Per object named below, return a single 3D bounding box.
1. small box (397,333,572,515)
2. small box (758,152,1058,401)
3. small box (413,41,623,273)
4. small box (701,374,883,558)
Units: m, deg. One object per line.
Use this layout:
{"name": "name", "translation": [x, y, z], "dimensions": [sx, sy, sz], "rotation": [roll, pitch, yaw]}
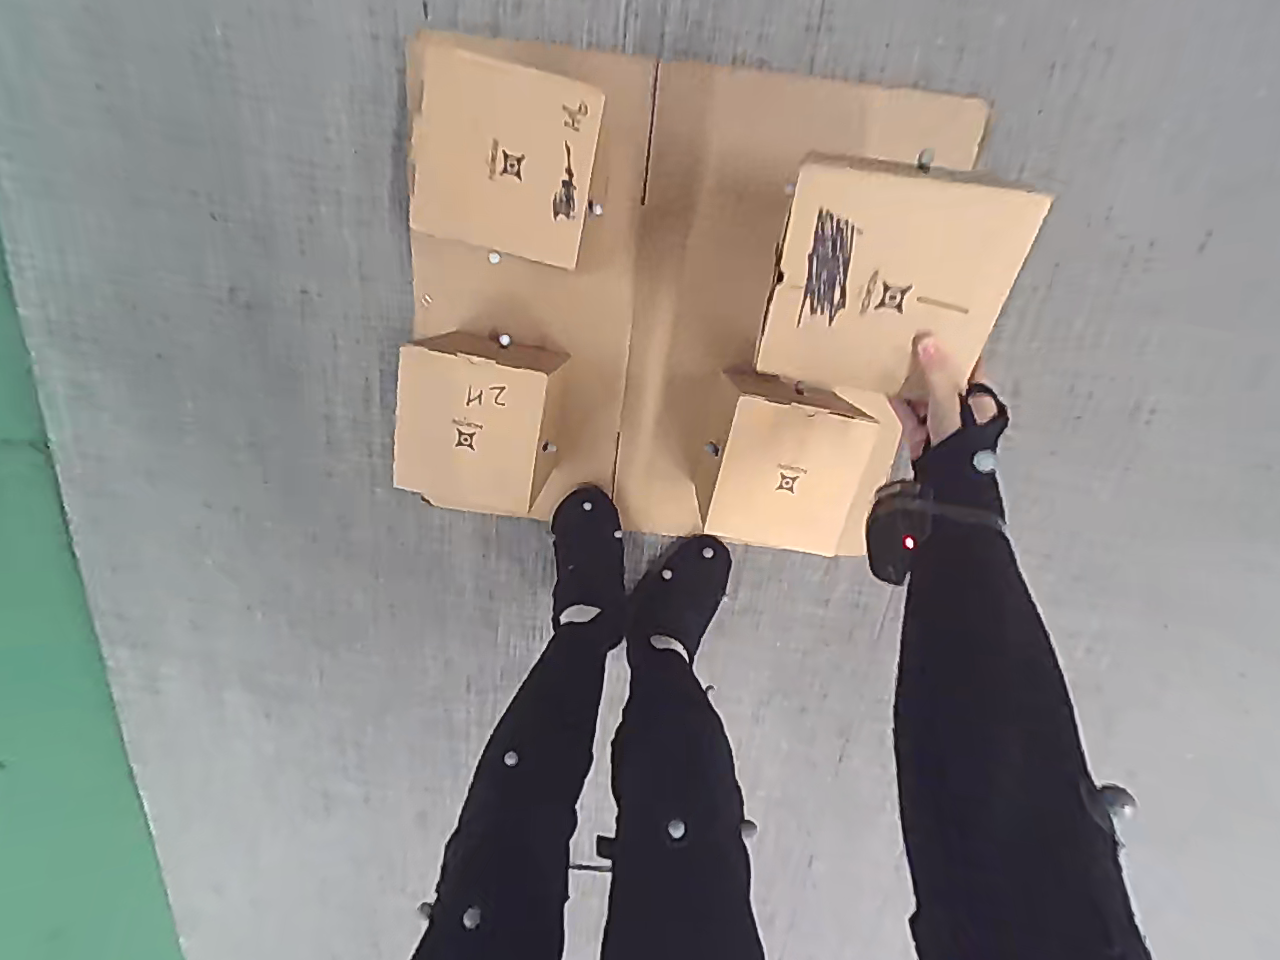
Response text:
{"name": "small box", "translation": [-0.188, -0.080, 0.691], "dimensions": [0.168, 0.176, 0.179], "rotation": [12, 109, -3]}
{"name": "small box", "translation": [0.222, -0.196, 0.497], "dimensions": [0.179, 0.176, 0.168], "rotation": [15, 125, 10]}
{"name": "small box", "translation": [-0.124, -0.335, 0.601], "dimensions": [0.179, 0.176, 0.168], "rotation": [14, 108, -3]}
{"name": "small box", "translation": [0.178, -0.026, 0.698], "dimensions": [0.168, 0.176, 0.179], "rotation": [11, 109, -2]}
